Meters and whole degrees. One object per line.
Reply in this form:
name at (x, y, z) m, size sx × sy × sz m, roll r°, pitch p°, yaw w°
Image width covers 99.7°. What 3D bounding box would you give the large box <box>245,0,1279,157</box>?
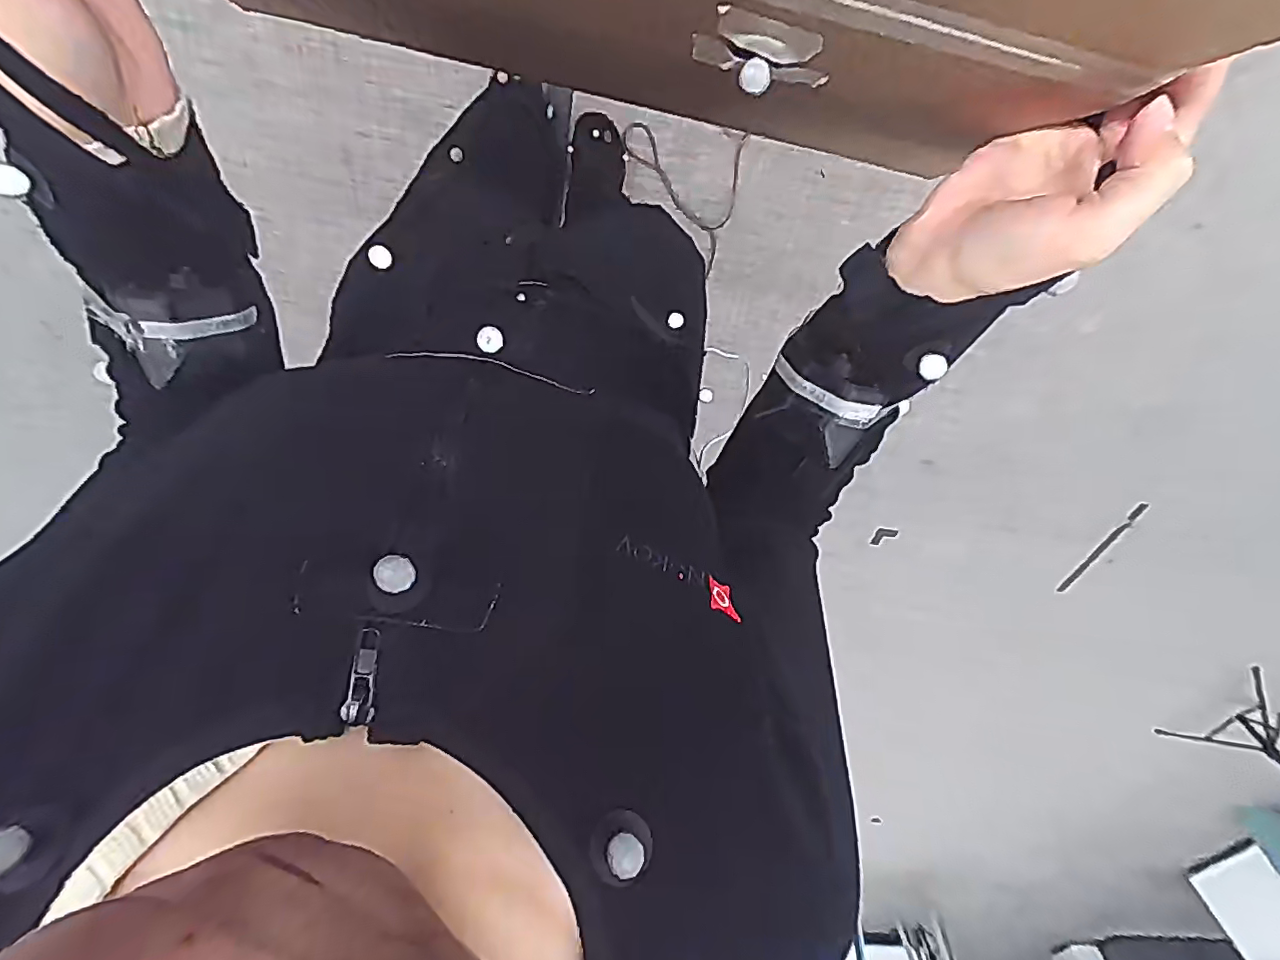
large box at (0.013, -0.324, 0.126) m, size 0.408 × 0.320 × 0.320 m, roll 9°, pitch 108°, yaw -5°
